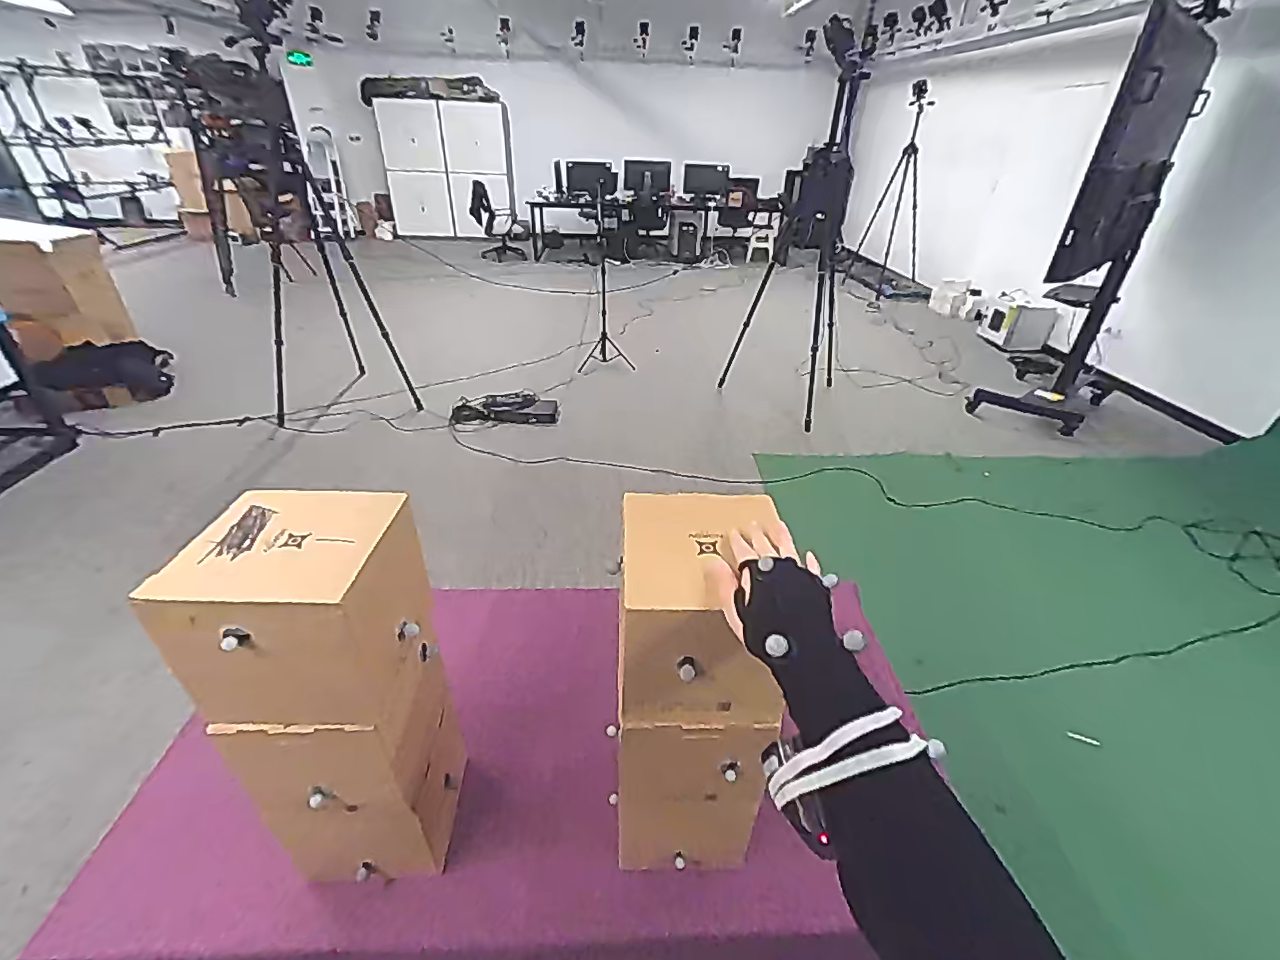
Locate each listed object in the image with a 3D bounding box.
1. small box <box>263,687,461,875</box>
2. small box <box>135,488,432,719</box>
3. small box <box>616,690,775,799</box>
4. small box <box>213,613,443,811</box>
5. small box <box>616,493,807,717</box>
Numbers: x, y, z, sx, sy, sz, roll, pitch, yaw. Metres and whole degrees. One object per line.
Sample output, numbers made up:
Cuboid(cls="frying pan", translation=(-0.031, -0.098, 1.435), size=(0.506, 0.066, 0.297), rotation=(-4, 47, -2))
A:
Cuboid(cls="small box", translation=(-0.352, 0.403, 0.731), size=(0.179, 0.176, 0.168), rotation=(0, 33, -5))
Cuboid(cls="small box", translation=(-0.336, 0.124, 0.556), size=(0.179, 0.176, 0.168), rotation=(2, 33, -2))
Cuboid(cls="small box", translation=(0.056, 0.267, 0.664), size=(0.168, 0.176, 0.179), rotation=(1, 33, -3))
Cuboid(cls="small box", translation=(-0.346, 0.262, 0.646), size=(0.168, 0.176, 0.179), rotation=(0, 34, -3))
Cuboid(cls="small box", translation=(0.060, 0.131, 0.576), size=(0.168, 0.176, 0.179), rotation=(1, 33, -3))
